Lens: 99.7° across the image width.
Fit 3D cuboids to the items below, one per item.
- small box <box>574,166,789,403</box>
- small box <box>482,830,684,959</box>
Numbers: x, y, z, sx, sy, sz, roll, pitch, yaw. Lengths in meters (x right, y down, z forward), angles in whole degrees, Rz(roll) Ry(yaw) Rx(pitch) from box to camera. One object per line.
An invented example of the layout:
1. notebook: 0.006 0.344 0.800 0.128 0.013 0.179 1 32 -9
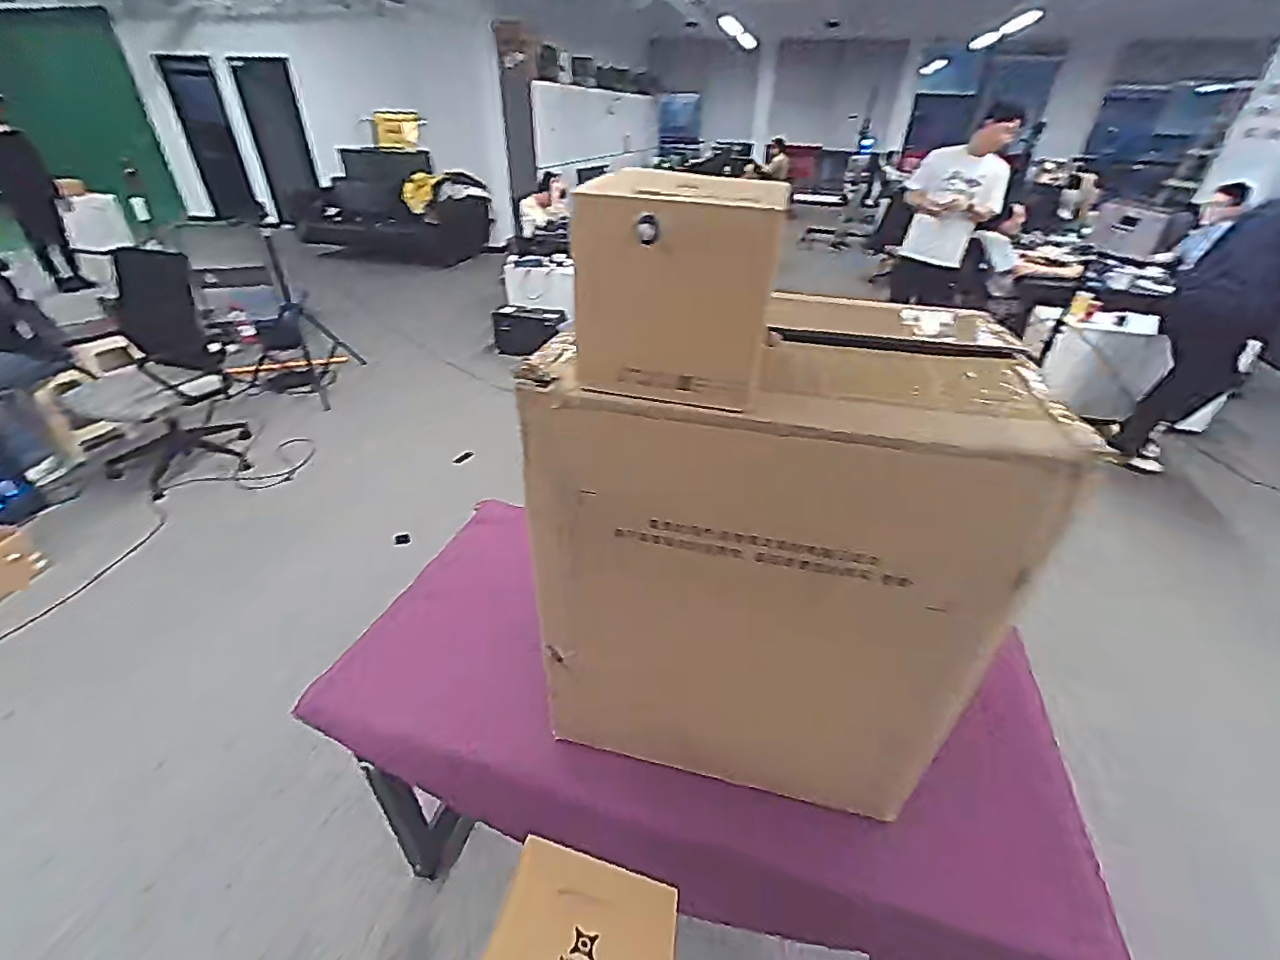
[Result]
1. small box: 0.041 -0.192 0.514 0.168 0.176 0.179 9 35 10
2. small box: -0.068 0.475 0.482 0.168 0.176 0.179 20 12 3
